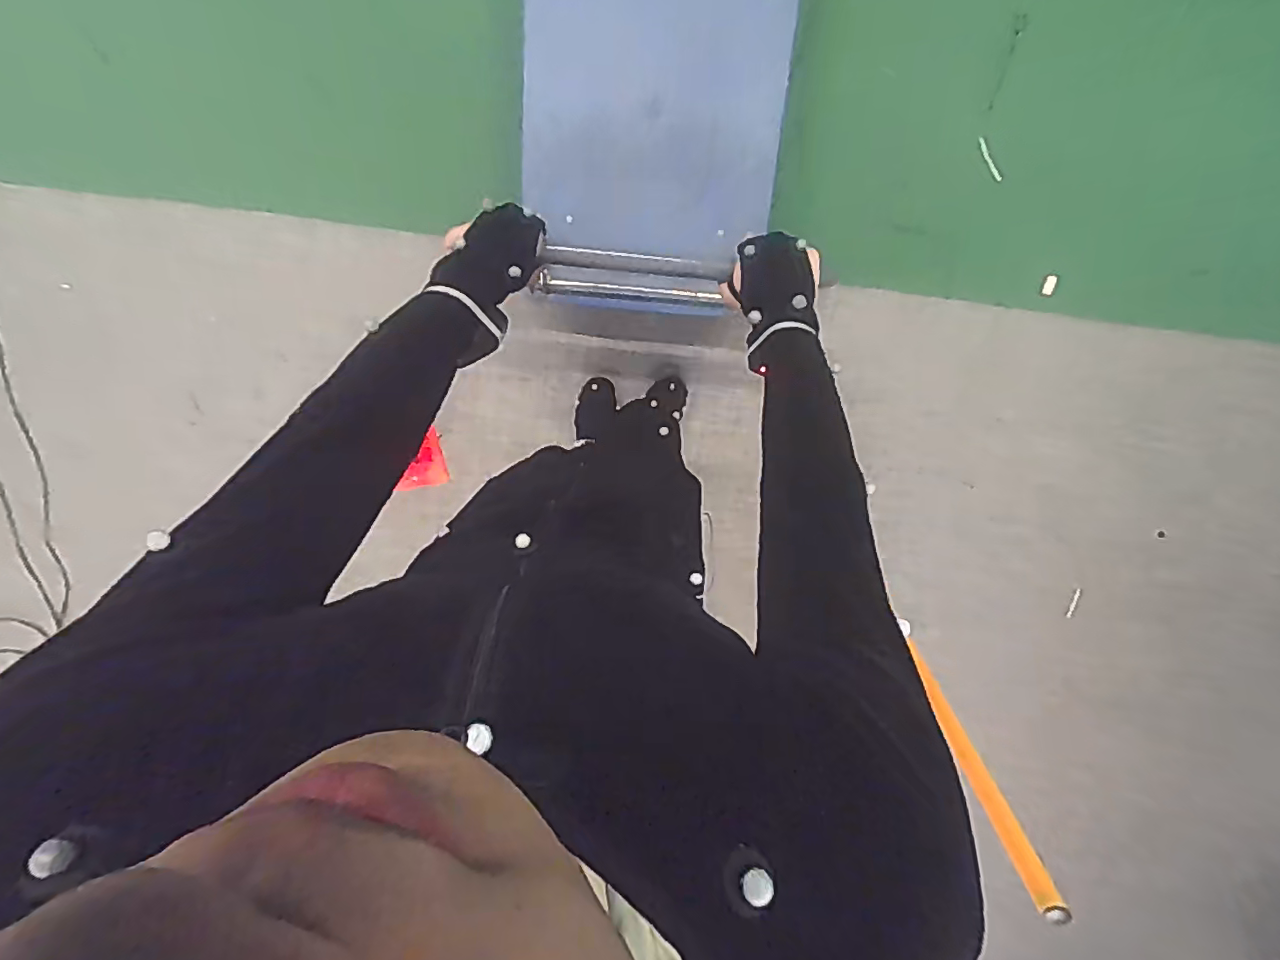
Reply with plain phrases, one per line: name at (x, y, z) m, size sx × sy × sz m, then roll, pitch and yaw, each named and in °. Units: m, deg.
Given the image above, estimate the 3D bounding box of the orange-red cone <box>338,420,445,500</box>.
orange-red cone at (-0.675, -0.020, 1.402) m, size 0.199 × 0.360 × 0.198 m, roll -7°, pitch 107°, yaw 2°
